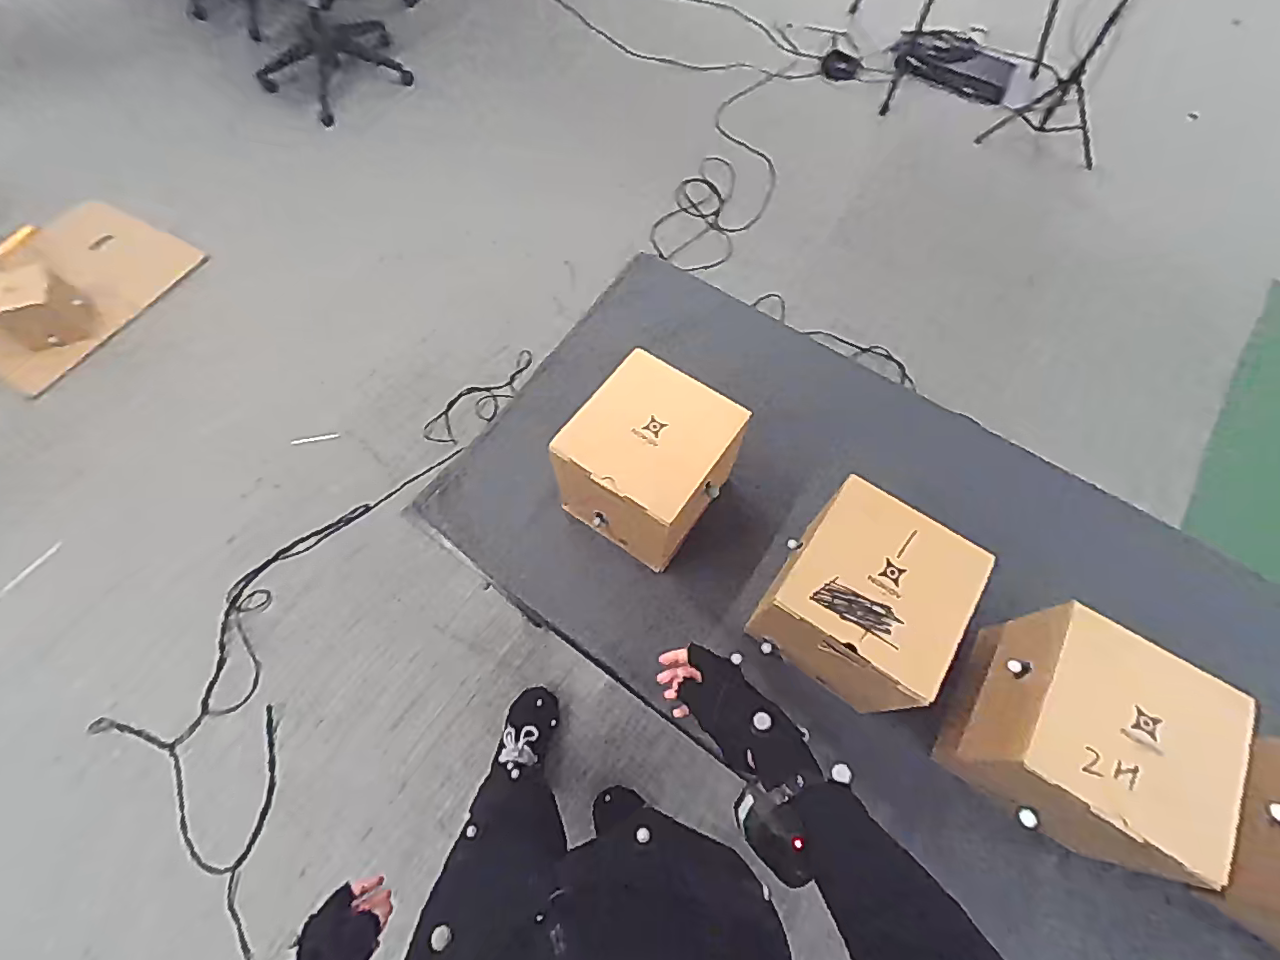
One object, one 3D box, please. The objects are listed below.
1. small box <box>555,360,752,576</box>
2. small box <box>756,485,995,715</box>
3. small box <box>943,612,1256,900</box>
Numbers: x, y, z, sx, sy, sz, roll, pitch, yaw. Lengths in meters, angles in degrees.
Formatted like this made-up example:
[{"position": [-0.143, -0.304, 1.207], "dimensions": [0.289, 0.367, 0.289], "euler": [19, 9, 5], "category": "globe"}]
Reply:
[{"position": [0.014, -0.009, 0.684], "dimensions": [0.168, 0.176, 0.179], "euler": [32, 67, 13], "category": "small box"}, {"position": [0.248, 0.144, 0.612], "dimensions": [0.168, 0.176, 0.179], "euler": [33, 67, 14], "category": "small box"}, {"position": [0.449, 0.268, 0.554], "dimensions": [0.168, 0.176, 0.179], "euler": [31, 68, 14], "category": "small box"}]
